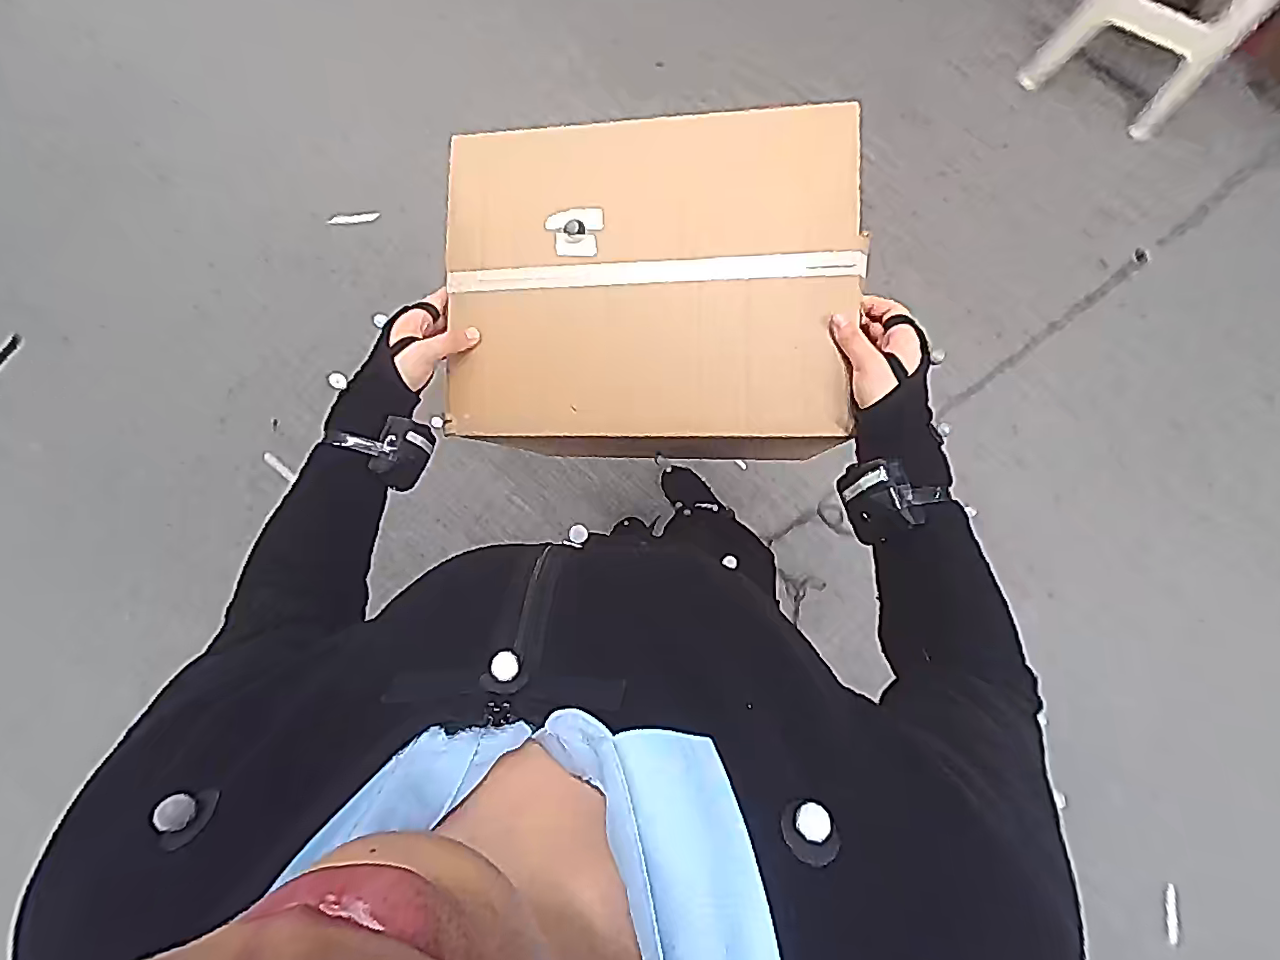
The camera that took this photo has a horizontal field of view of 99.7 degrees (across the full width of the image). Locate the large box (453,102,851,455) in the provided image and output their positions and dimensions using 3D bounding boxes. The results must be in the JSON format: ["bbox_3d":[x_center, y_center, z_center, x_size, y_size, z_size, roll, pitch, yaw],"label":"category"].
[{"bbox_3d":[0.026,-0.198,0.685,0.408,0.320,0.320,0,87,10],"label":"large box"}]
